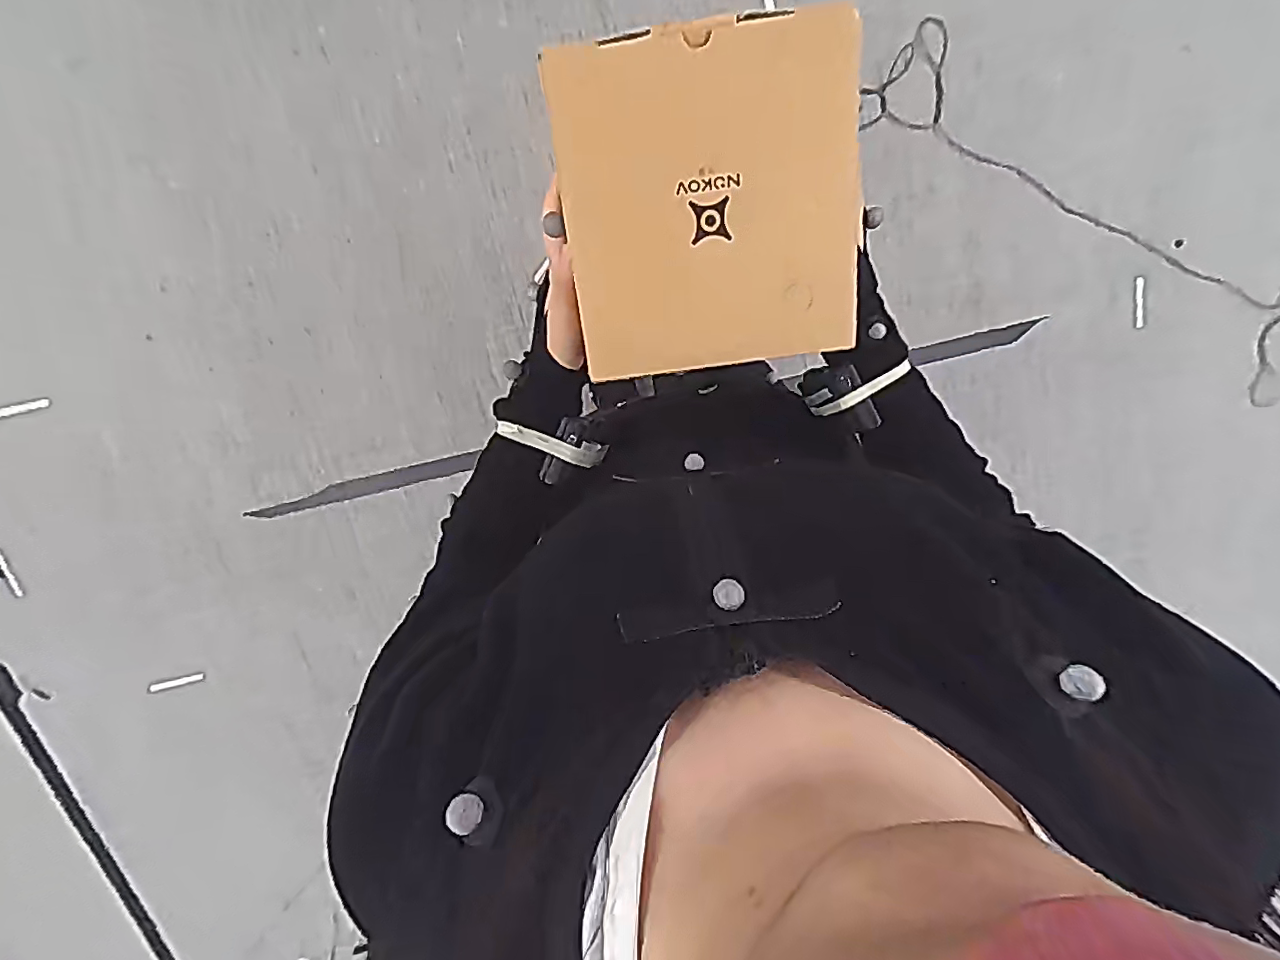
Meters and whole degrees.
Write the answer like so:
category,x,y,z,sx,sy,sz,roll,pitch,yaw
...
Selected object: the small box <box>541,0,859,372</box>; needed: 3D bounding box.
category,x,y,z,sx,sy,sz,roll,pitch,yaw
small box,0.040,-0.185,0.380,0.168,0.176,0.179,-7,110,3
